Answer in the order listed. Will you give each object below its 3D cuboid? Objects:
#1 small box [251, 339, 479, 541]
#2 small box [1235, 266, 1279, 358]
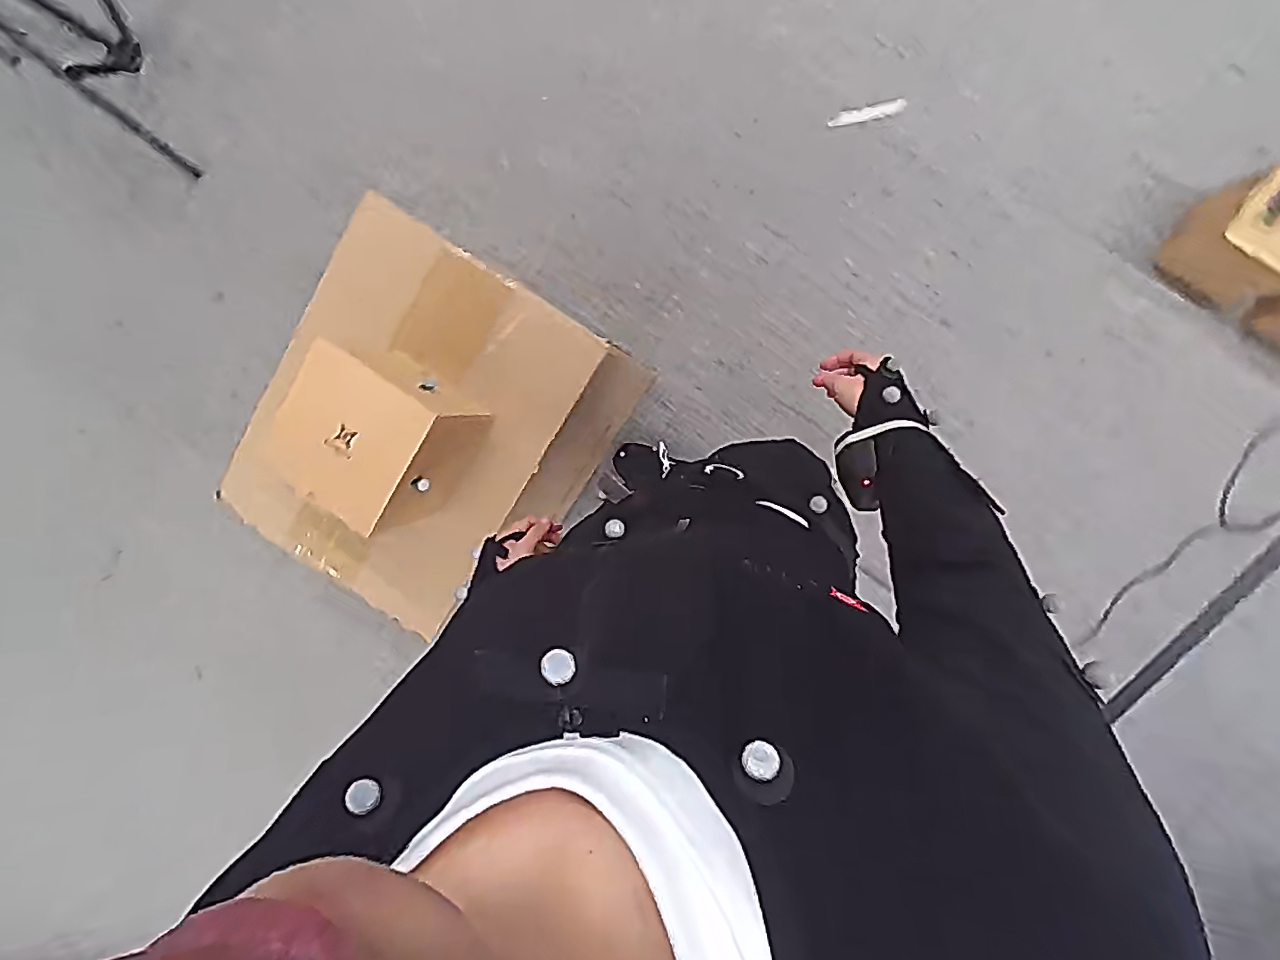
[{"bbox_3d":[-0.331,-0.054,0.690,0.168,0.176,0.179,33,101,1],"label":"small box"},{"bbox_3d":[1.377,-0.354,1.073,0.168,0.176,0.179,35,101,2],"label":"small box"}]
